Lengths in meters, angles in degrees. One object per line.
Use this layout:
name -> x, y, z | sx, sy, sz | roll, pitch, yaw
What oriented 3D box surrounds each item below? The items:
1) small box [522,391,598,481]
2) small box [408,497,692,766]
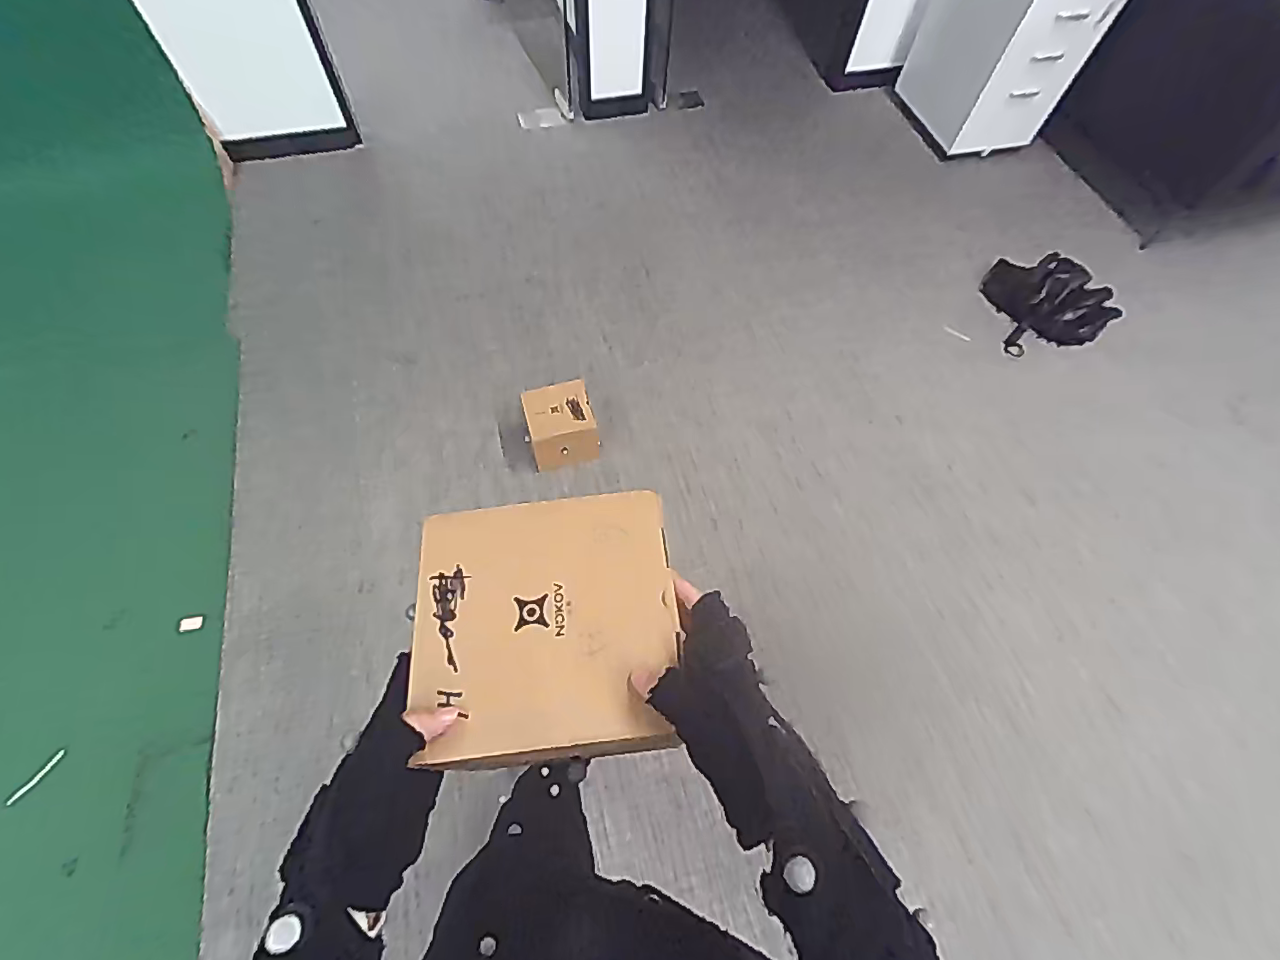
small box -> -0.220, -0.120, 1.519 | 0.179, 0.176, 0.168 | -15, 63, -9
small box -> -0.061, 0.129, 0.436 | 0.179, 0.176, 0.168 | -5, 60, -2
